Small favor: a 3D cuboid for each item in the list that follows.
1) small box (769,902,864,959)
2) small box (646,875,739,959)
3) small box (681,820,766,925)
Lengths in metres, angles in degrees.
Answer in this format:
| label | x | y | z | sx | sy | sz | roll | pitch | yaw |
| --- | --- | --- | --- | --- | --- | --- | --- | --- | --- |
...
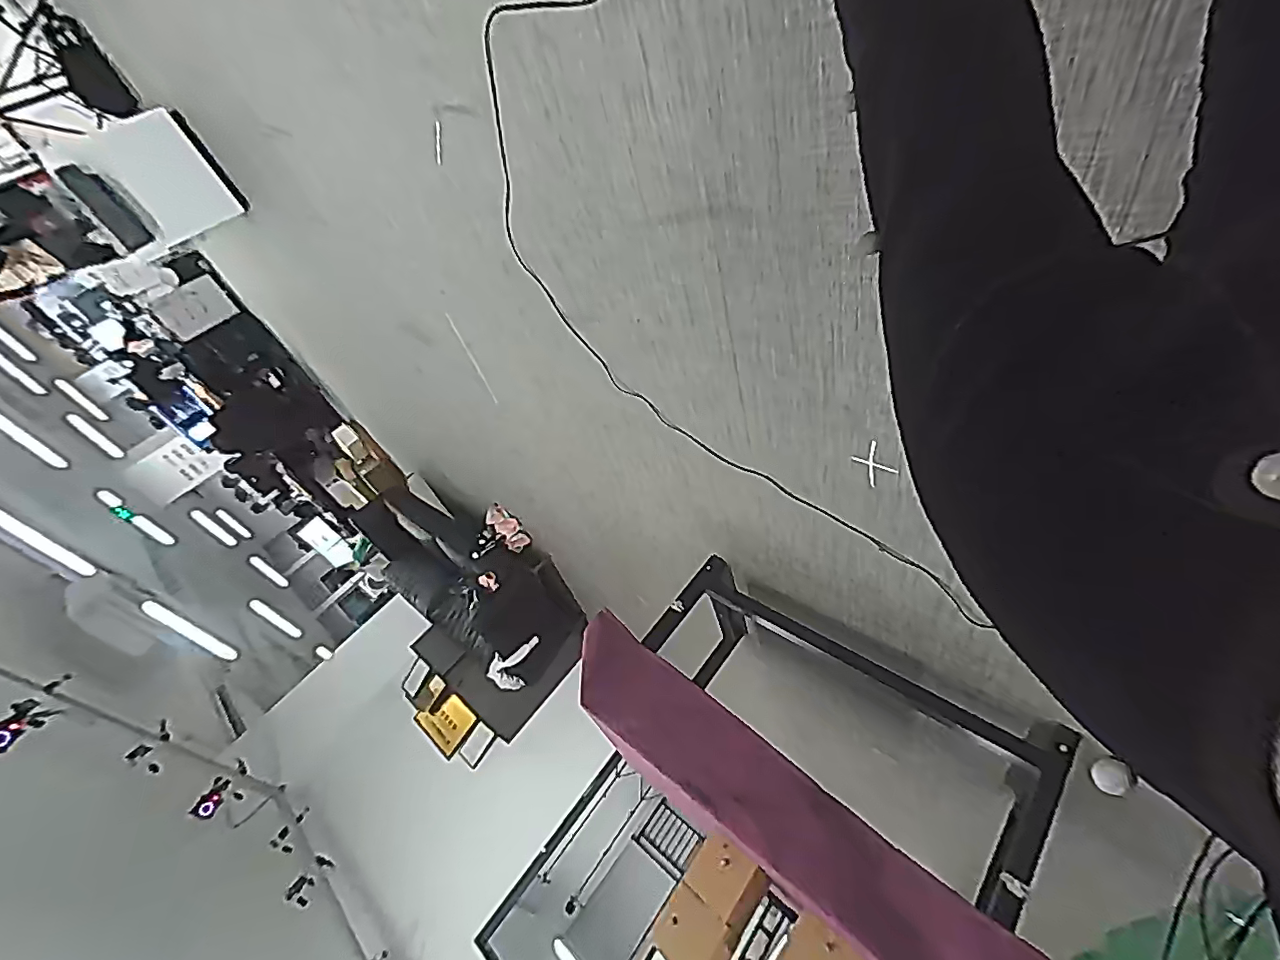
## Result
| label | x | y | z | sx | sy | sz | roll | pitch | yaw |
| --- | --- | --- | --- | --- | --- | --- | --- | --- | --- |
| small box | 0.469 | 1.257 | 1.426 | 0.179 | 0.176 | 0.168 | 23 | 148 | 40 |
| small box | 0.153 | 1.274 | 1.545 | 0.179 | 0.176 | 0.168 | 19 | 146 | 42 |
| small box | 0.256 | 1.169 | 1.616 | 0.168 | 0.176 | 0.179 | 18 | 144 | 44 |
